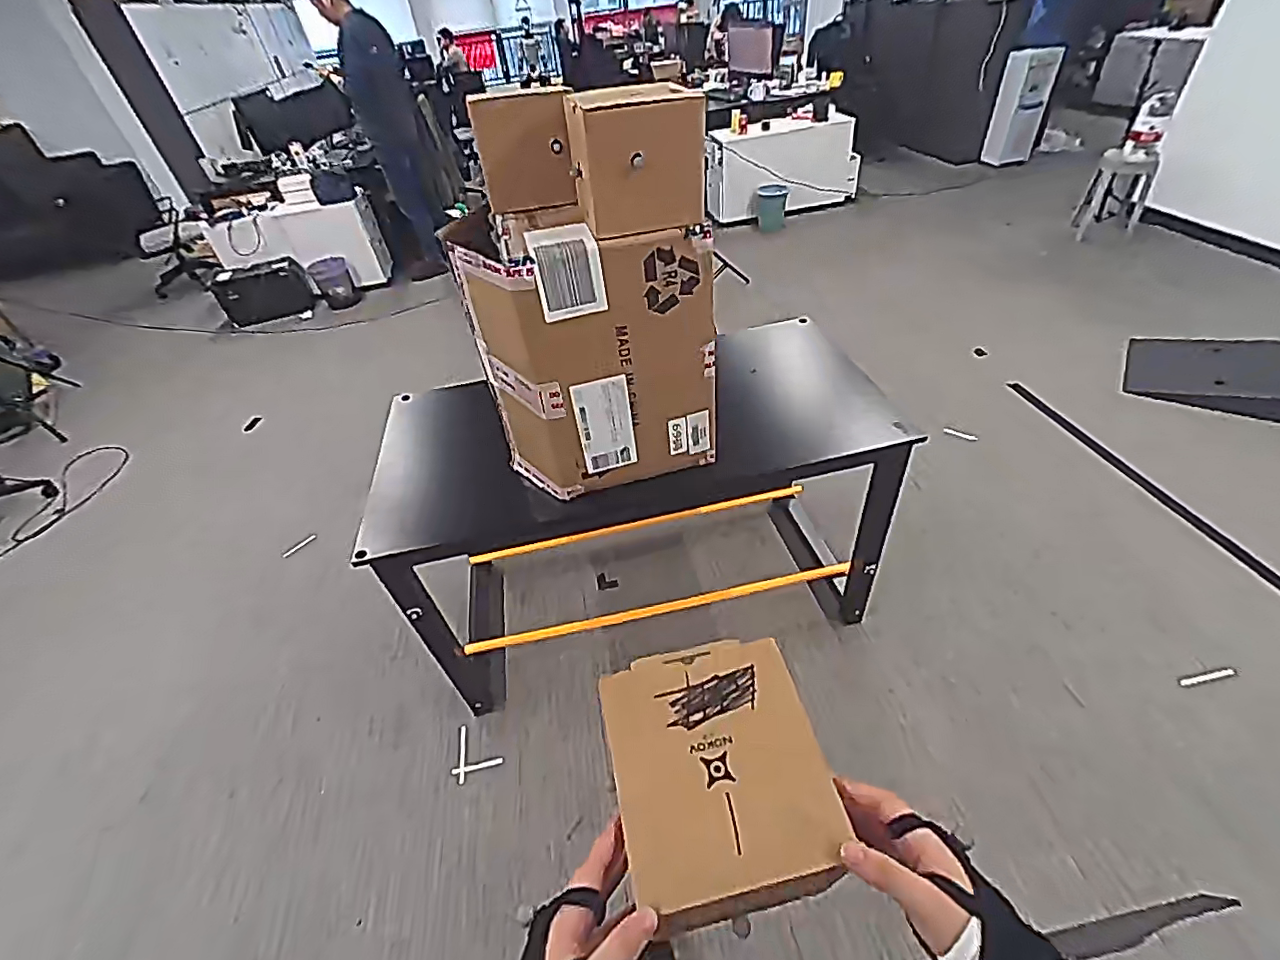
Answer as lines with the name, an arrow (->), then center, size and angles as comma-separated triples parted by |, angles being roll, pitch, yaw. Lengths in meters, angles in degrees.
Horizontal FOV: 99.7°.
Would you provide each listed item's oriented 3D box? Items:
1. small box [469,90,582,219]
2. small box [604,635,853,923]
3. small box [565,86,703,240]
small box -> -0.200, -0.590, 0.980 | 0.179, 0.176, 0.168 | -13, 39, -8
small box -> 0.066, 0.276, 0.502 | 0.168, 0.176, 0.179 | -12, 47, -4
small box -> -0.007, -0.494, 0.846 | 0.179, 0.176, 0.168 | -14, 44, -7
